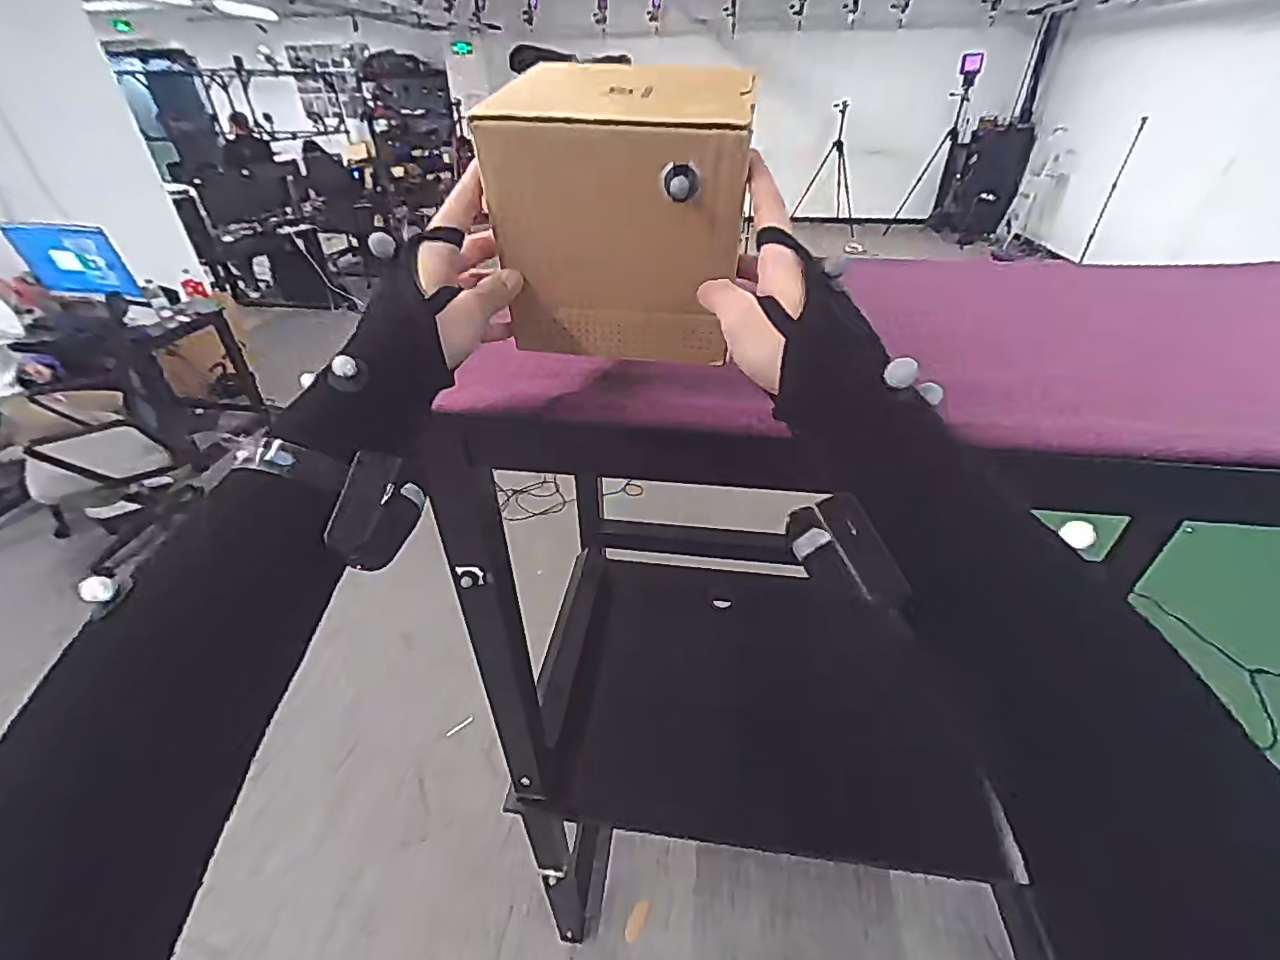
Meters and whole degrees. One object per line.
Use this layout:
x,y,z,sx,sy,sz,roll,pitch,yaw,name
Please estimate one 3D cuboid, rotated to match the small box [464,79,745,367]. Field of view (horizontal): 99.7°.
-0.012,-0.208,0.441,0.179,0.176,0.168,6,46,7,small box
